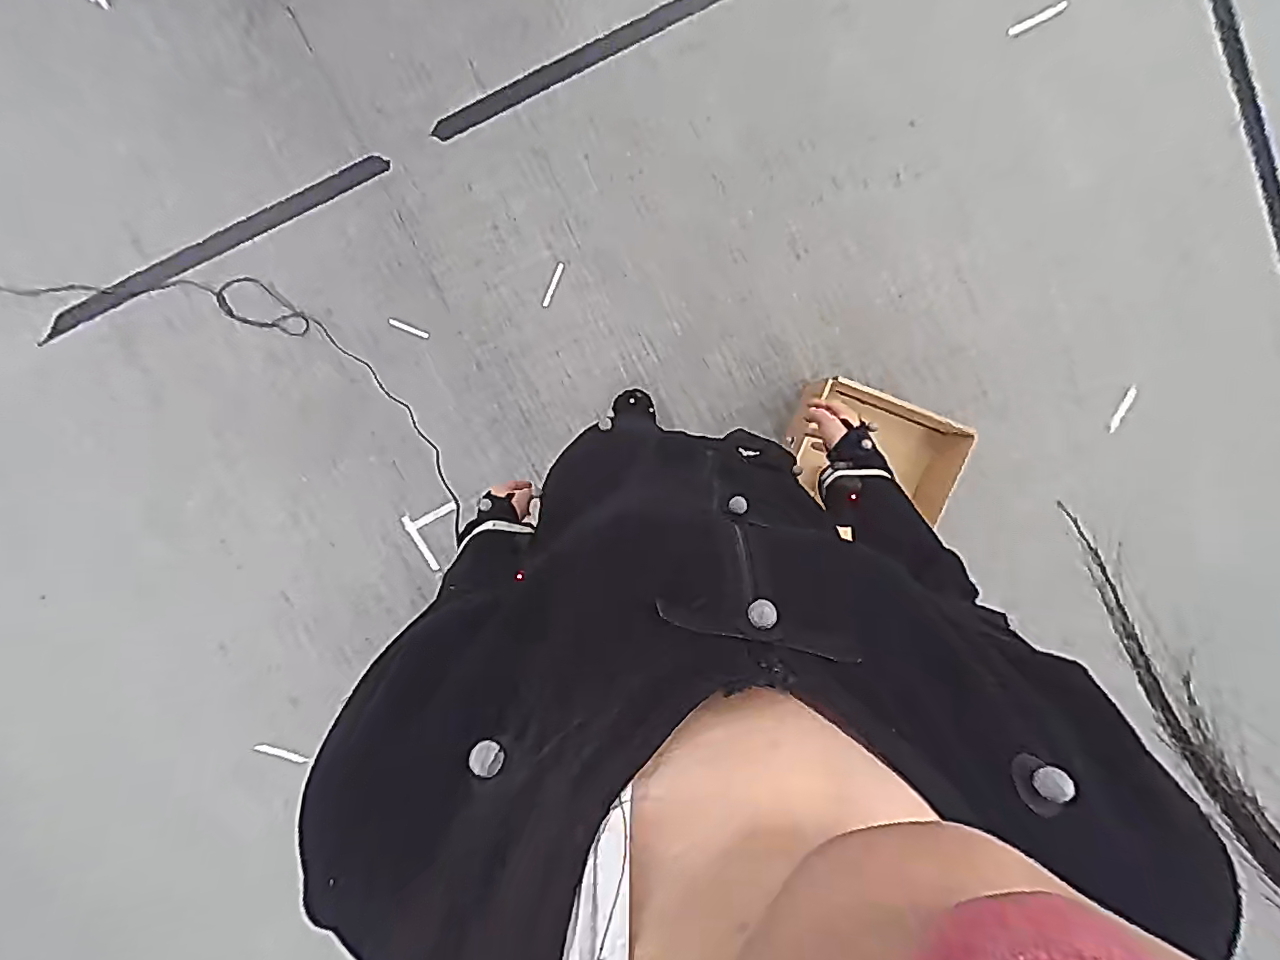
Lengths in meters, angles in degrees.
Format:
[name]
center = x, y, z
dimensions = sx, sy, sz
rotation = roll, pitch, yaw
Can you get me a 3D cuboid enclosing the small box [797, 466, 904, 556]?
[small box]
center = 0.535, 0.073, 1.400
dimensions = 0.179, 0.176, 0.168
rotation = 20, 99, -4
